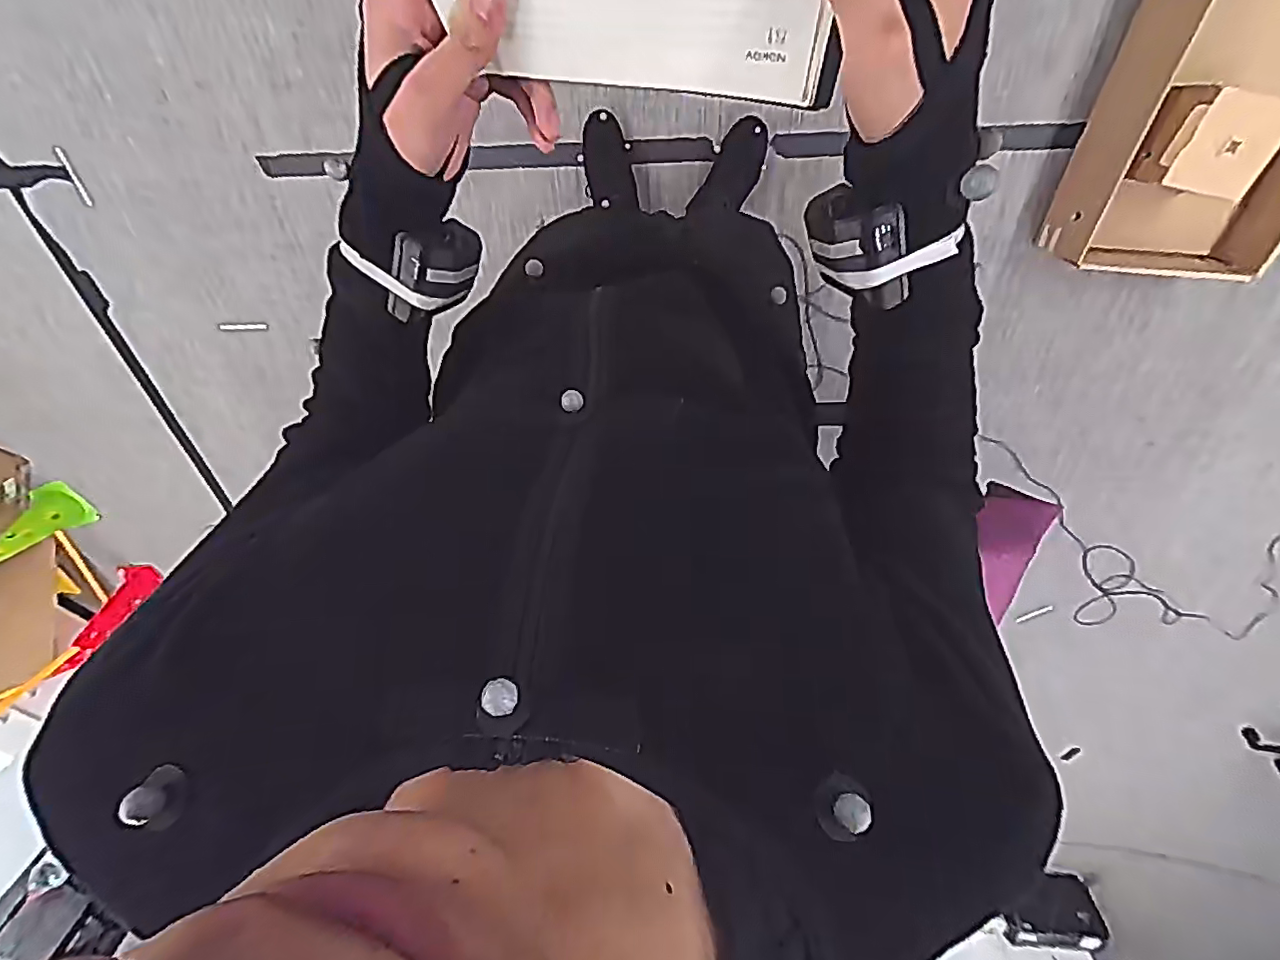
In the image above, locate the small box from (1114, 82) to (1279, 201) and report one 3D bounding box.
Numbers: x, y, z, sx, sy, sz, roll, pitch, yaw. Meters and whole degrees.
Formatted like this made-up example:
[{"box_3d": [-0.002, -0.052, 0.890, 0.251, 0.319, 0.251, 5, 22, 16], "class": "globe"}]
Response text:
[{"box_3d": [1.136, -0.687, 1.098, 0.179, 0.176, 0.168, 11, 126, -3], "class": "small box"}]
